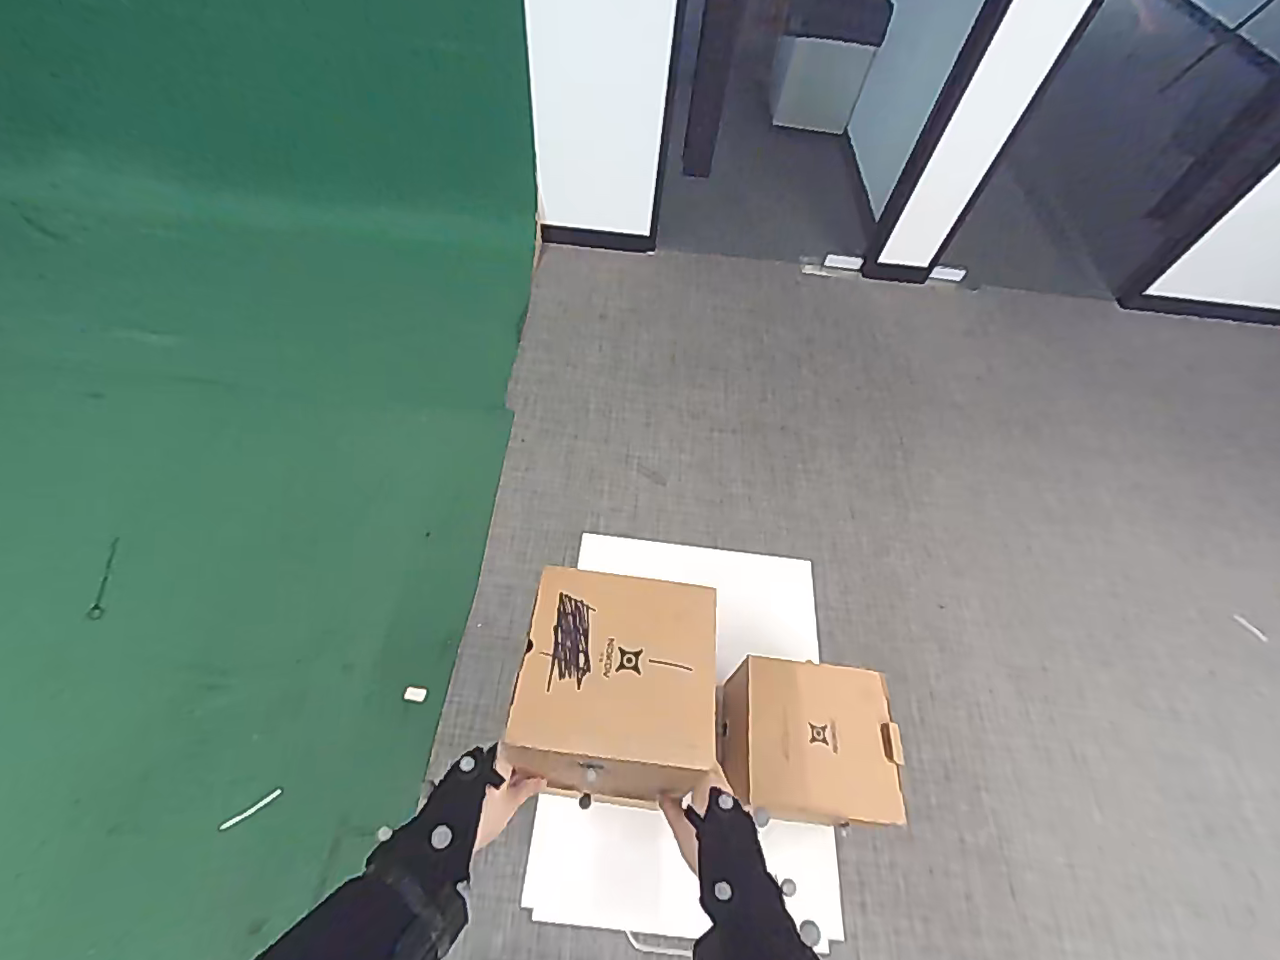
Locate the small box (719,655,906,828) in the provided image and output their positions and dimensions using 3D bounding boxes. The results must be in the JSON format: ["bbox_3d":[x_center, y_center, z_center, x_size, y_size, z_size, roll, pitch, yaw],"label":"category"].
[{"bbox_3d":[0.207,0.338,0.694,0.179,0.176,0.168,7,56,1],"label":"small box"}]

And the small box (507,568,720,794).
[{"bbox_3d":[-0.022,0.209,0.546,0.179,0.176,0.168,8,54,-2],"label":"small box"}]

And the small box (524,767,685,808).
[{"bbox_3d":[-0.037,0.309,0.684,0.179,0.176,0.168,9,57,-2],"label":"small box"}]
